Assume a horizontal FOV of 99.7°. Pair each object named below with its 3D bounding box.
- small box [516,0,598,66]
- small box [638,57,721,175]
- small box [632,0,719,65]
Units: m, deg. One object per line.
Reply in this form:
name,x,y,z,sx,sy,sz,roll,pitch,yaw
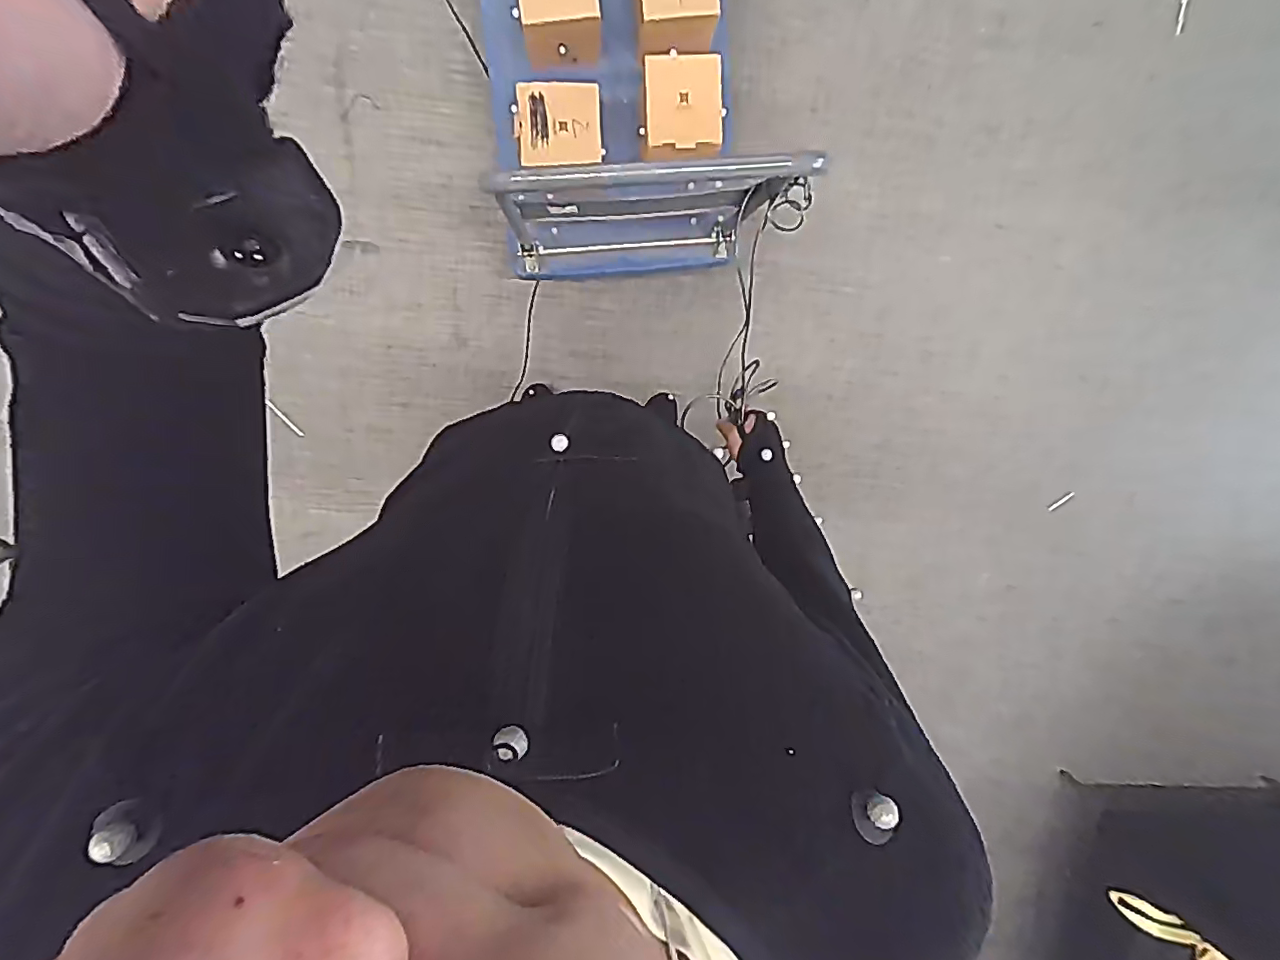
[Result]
small box,-0.184,-1.041,1.178,0.168,0.176,0.179,-9,101,-3
small box,0.086,-0.825,1.238,0.168,0.176,0.179,-4,101,-4
small box,0.072,-1.062,1.192,0.168,0.176,0.179,-7,102,-2
